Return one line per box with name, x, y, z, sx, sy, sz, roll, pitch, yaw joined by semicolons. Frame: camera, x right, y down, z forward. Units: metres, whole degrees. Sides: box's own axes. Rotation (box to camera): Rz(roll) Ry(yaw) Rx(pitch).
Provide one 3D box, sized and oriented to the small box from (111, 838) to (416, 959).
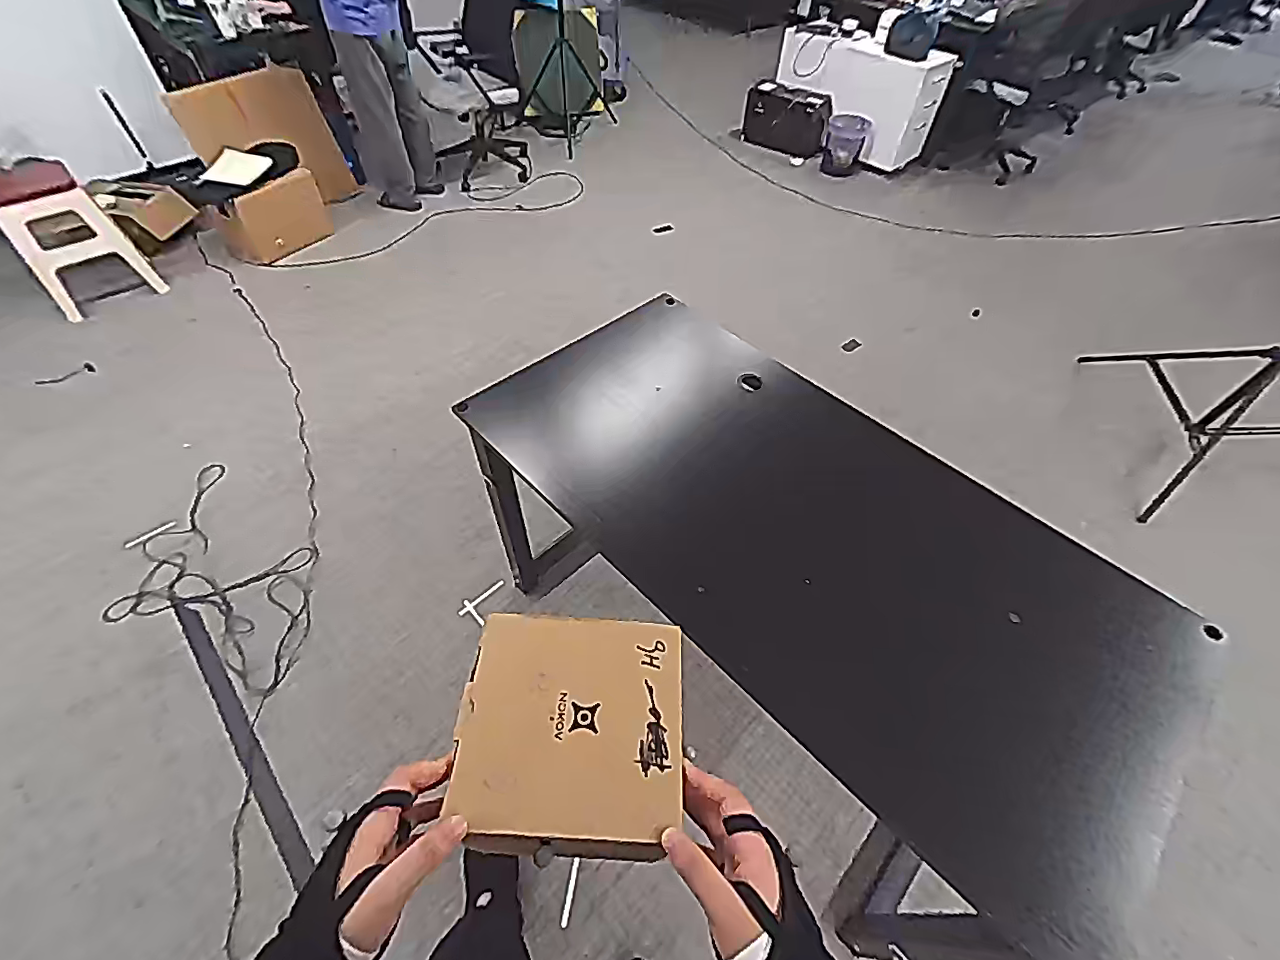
small box;-0.245;0.368;0.326;0.179;0.168;0.176;-1;45;-49
